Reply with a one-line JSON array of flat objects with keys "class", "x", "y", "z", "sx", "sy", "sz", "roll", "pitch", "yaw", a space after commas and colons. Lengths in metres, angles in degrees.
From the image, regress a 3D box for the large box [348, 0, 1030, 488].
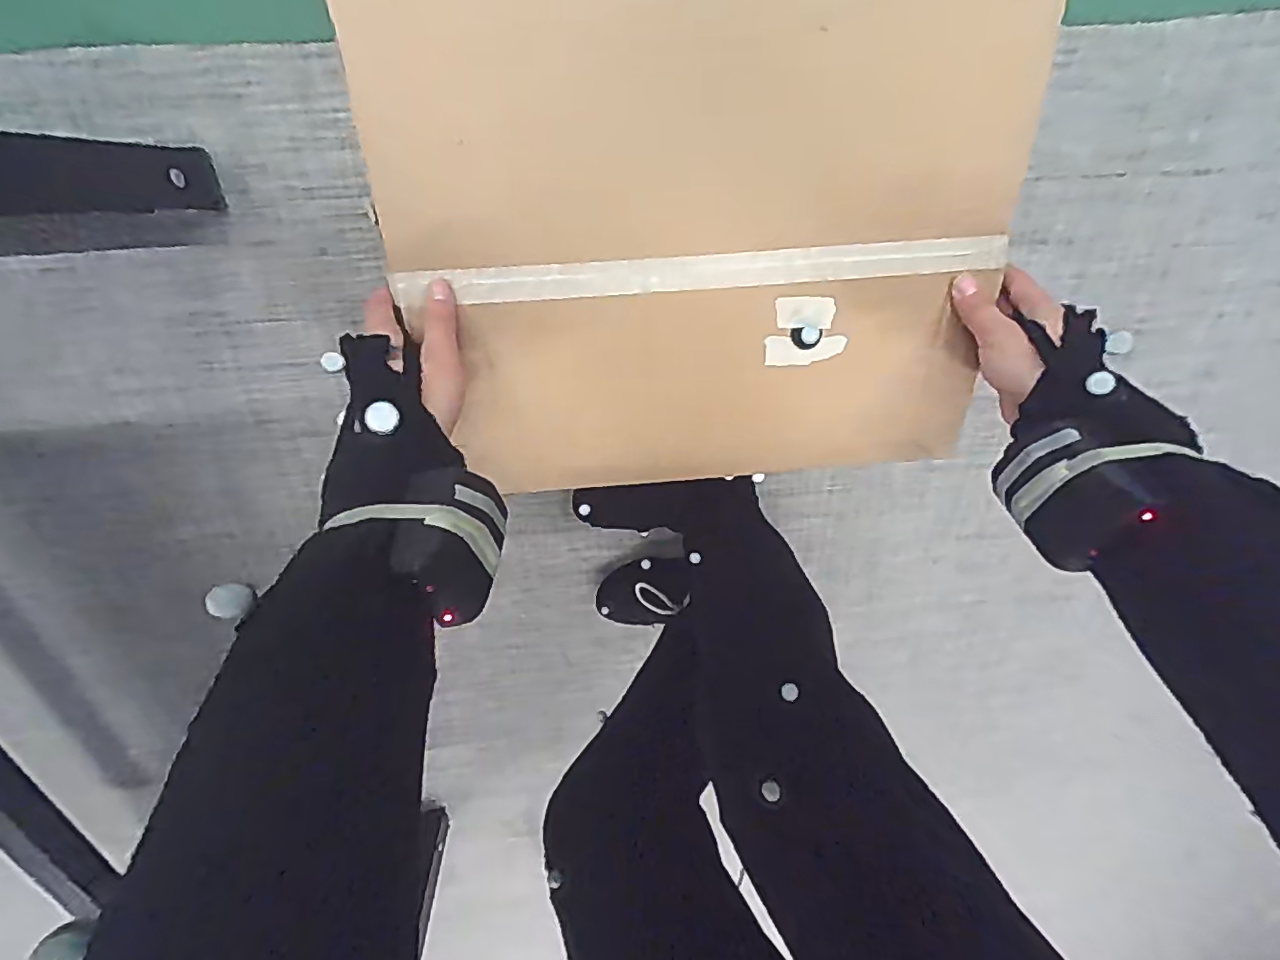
[{"class": "large box", "x": 0.030, "y": -0.215, "z": 0.502, "sx": 0.408, "sy": 0.320, "sz": 0.320, "roll": -6, "pitch": 117, "yaw": -4}]
